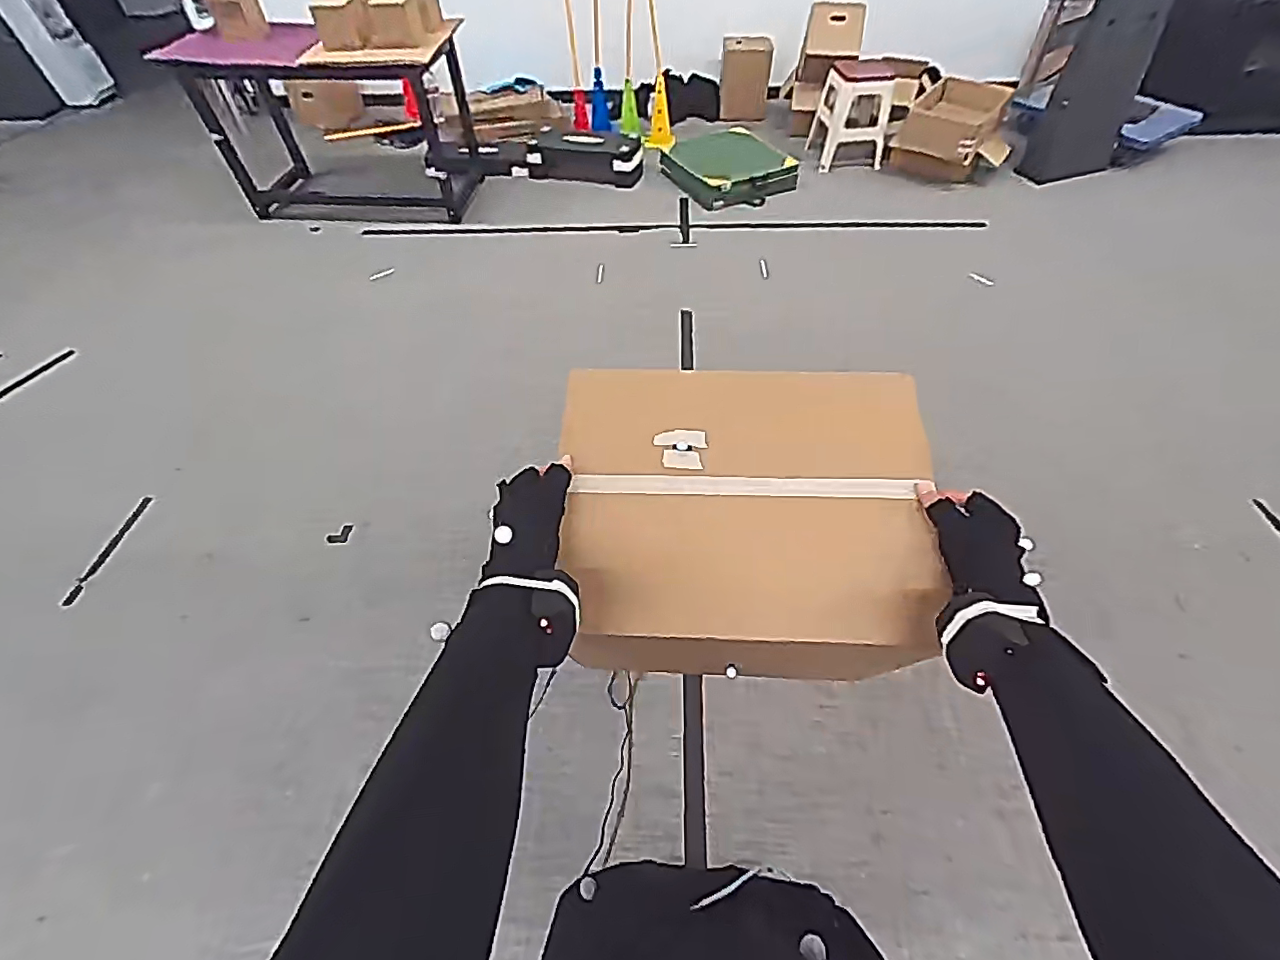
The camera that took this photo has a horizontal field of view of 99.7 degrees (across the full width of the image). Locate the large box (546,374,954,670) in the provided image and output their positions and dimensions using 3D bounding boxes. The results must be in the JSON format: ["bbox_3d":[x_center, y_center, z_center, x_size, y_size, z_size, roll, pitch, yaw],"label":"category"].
[{"bbox_3d":[0.119,0.076,0.724,0.408,0.320,0.320,1,64,5],"label":"large box"}]
